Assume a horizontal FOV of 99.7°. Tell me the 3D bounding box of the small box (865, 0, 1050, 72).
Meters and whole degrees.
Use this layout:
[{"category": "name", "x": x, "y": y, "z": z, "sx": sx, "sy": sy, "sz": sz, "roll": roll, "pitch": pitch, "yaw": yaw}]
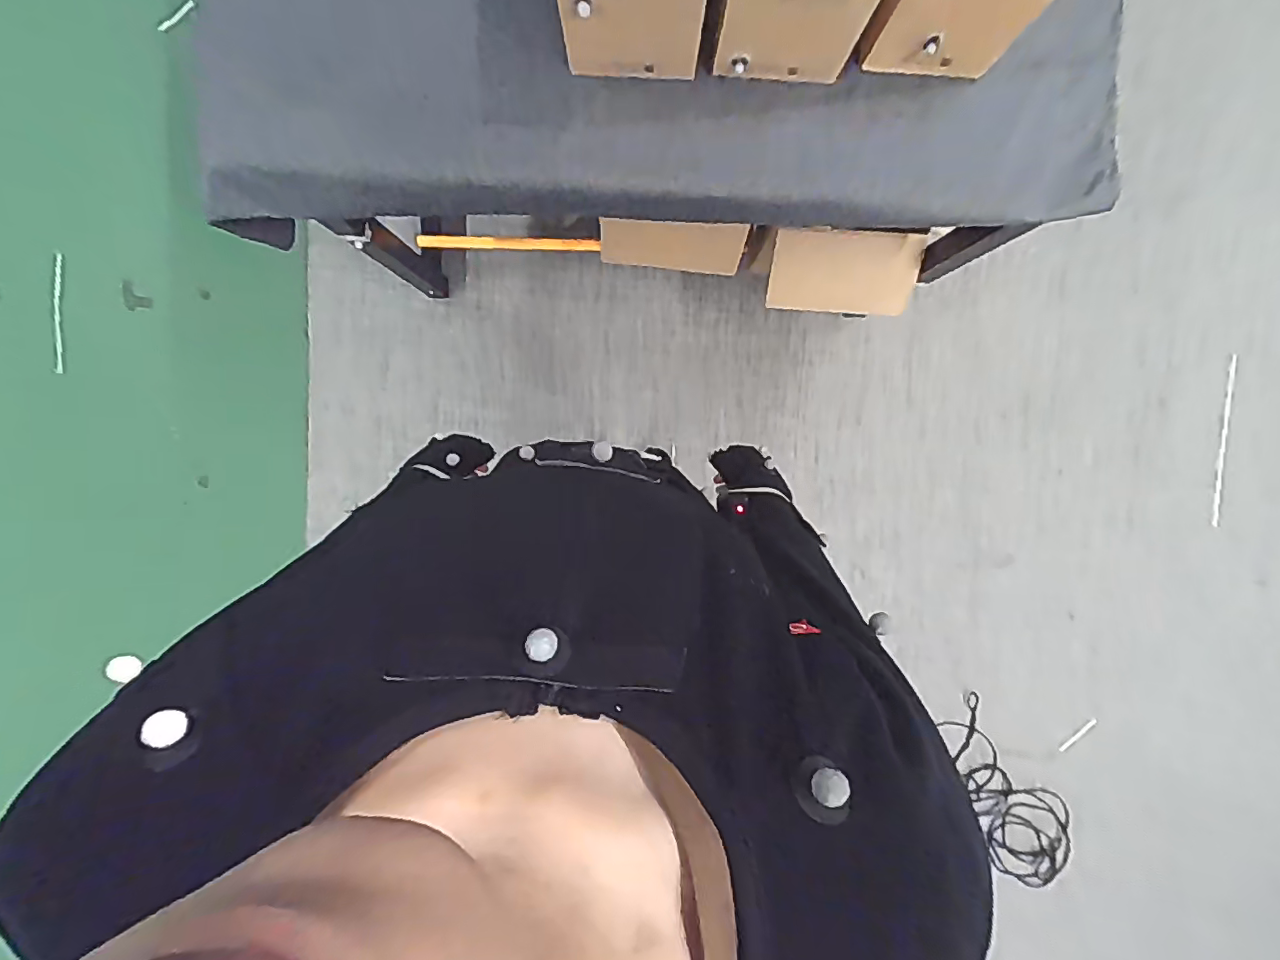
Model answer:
[{"category": "small box", "x": 0.379, "y": -0.624, "z": 0.626, "sx": 0.168, "sy": 0.176, "sz": 0.179, "roll": 3, "pitch": 95, "yaw": -1}]
